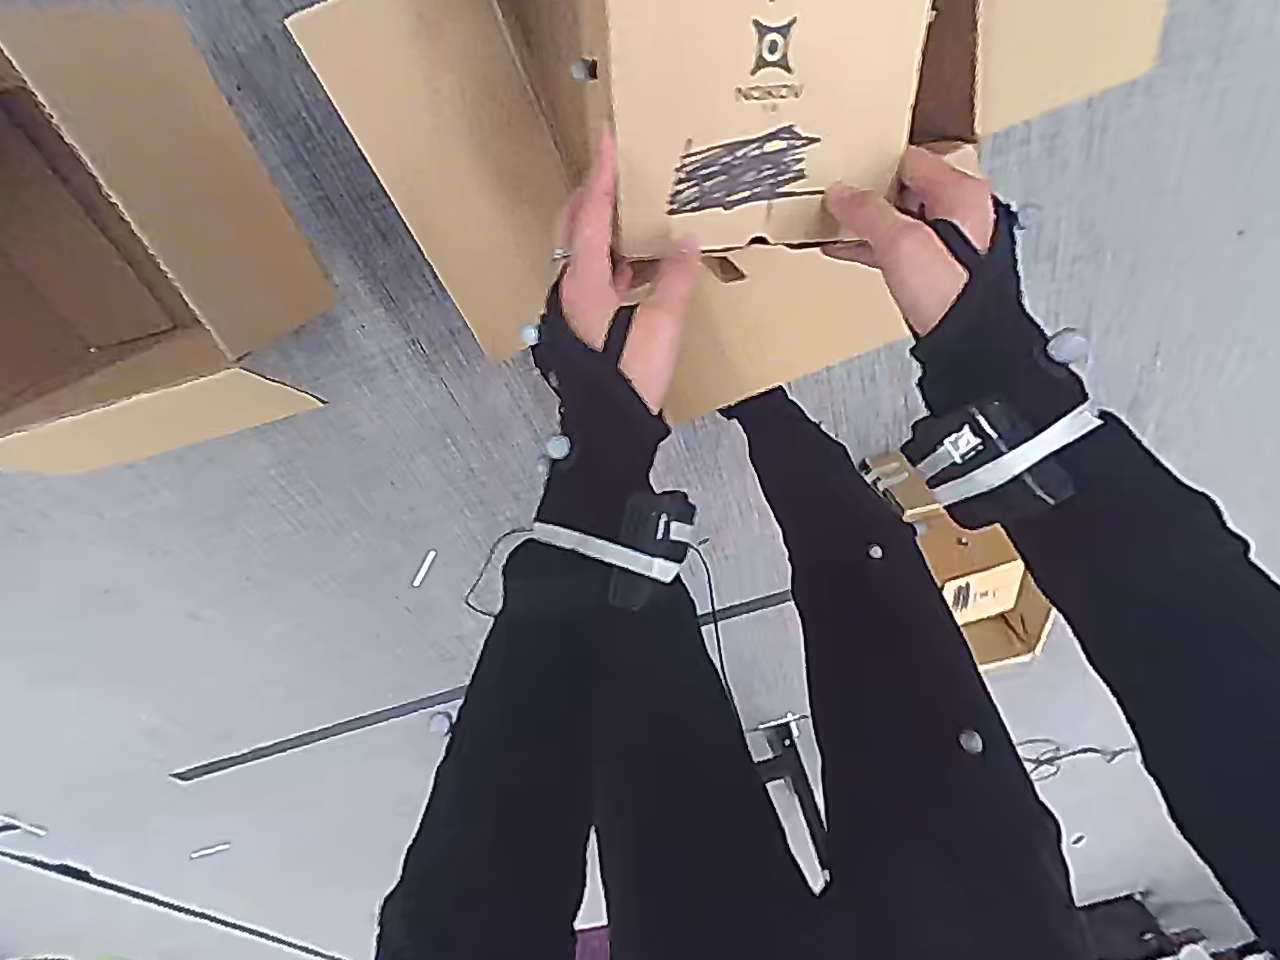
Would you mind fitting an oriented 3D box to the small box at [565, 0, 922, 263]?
[{"bbox_3d":[0.045,-0.247,0.335,0.168,0.176,0.179,-7,122,-7],"label":"small box"}]
